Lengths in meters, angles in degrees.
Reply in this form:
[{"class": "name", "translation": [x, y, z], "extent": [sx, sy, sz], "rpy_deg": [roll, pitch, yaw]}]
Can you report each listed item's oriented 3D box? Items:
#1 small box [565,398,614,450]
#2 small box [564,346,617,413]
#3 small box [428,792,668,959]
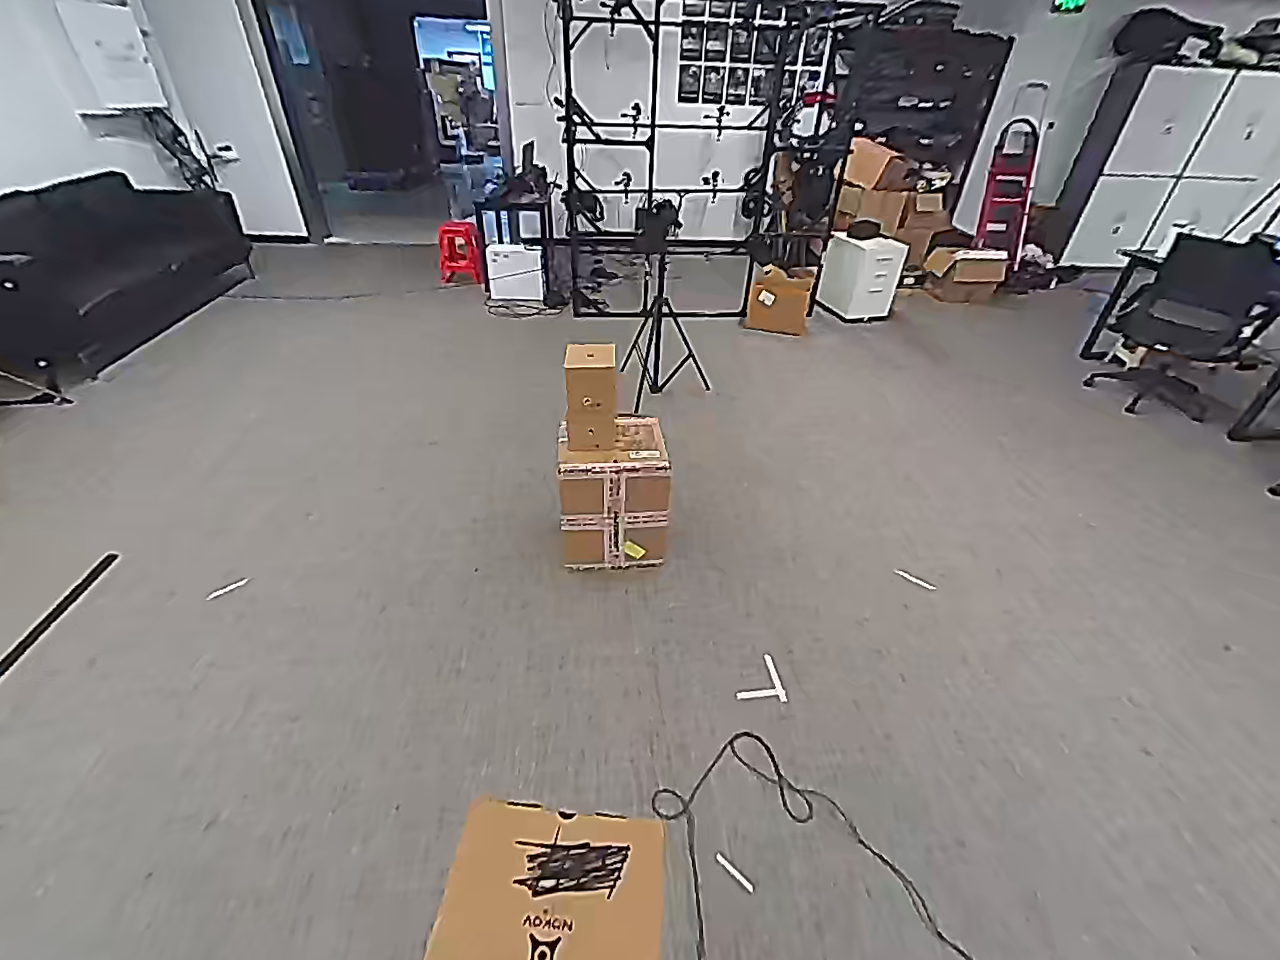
[{"class": "small box", "translation": [-0.177, -0.217, 1.943], "extent": [0.168, 0.176, 0.179], "rpy_deg": [-1, 39, -3]}, {"class": "small box", "translation": [-0.165, -0.342, 1.837], "extent": [0.168, 0.176, 0.179], "rpy_deg": [-2, 39, -2]}, {"class": "small box", "translation": [-0.072, 0.388, 0.435], "extent": [0.168, 0.176, 0.179], "rpy_deg": [7, 38, 0]}]
